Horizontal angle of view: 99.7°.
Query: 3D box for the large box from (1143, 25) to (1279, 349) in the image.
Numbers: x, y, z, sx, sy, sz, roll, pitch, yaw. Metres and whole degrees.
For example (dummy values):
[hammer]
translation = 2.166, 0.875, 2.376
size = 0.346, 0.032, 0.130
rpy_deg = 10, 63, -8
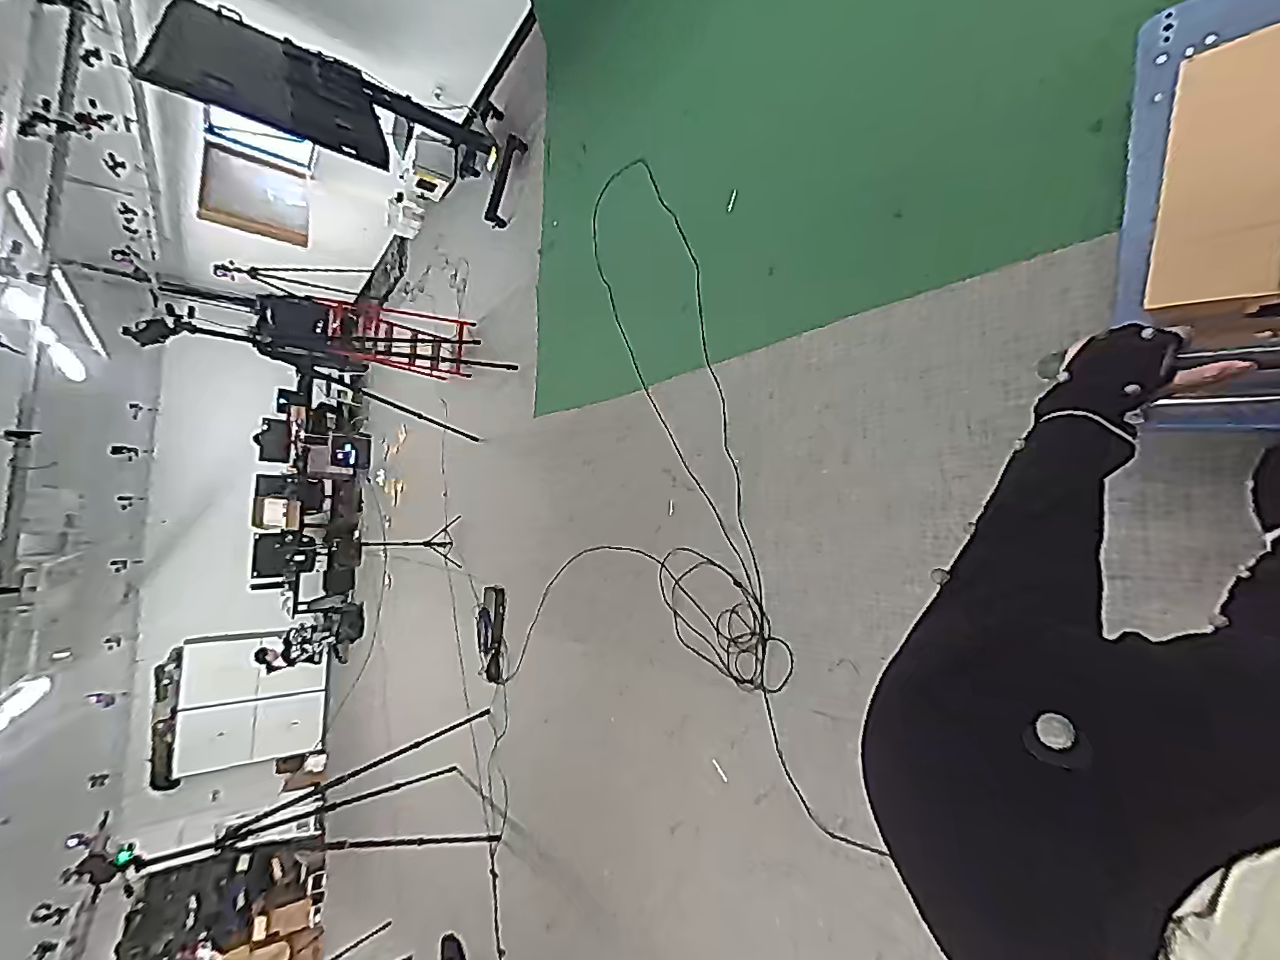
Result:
[large box]
translation = 1.062, -0.454, 0.858
size = 0.320, 0.320, 0.408
rpy_deg = 9, 92, 51
